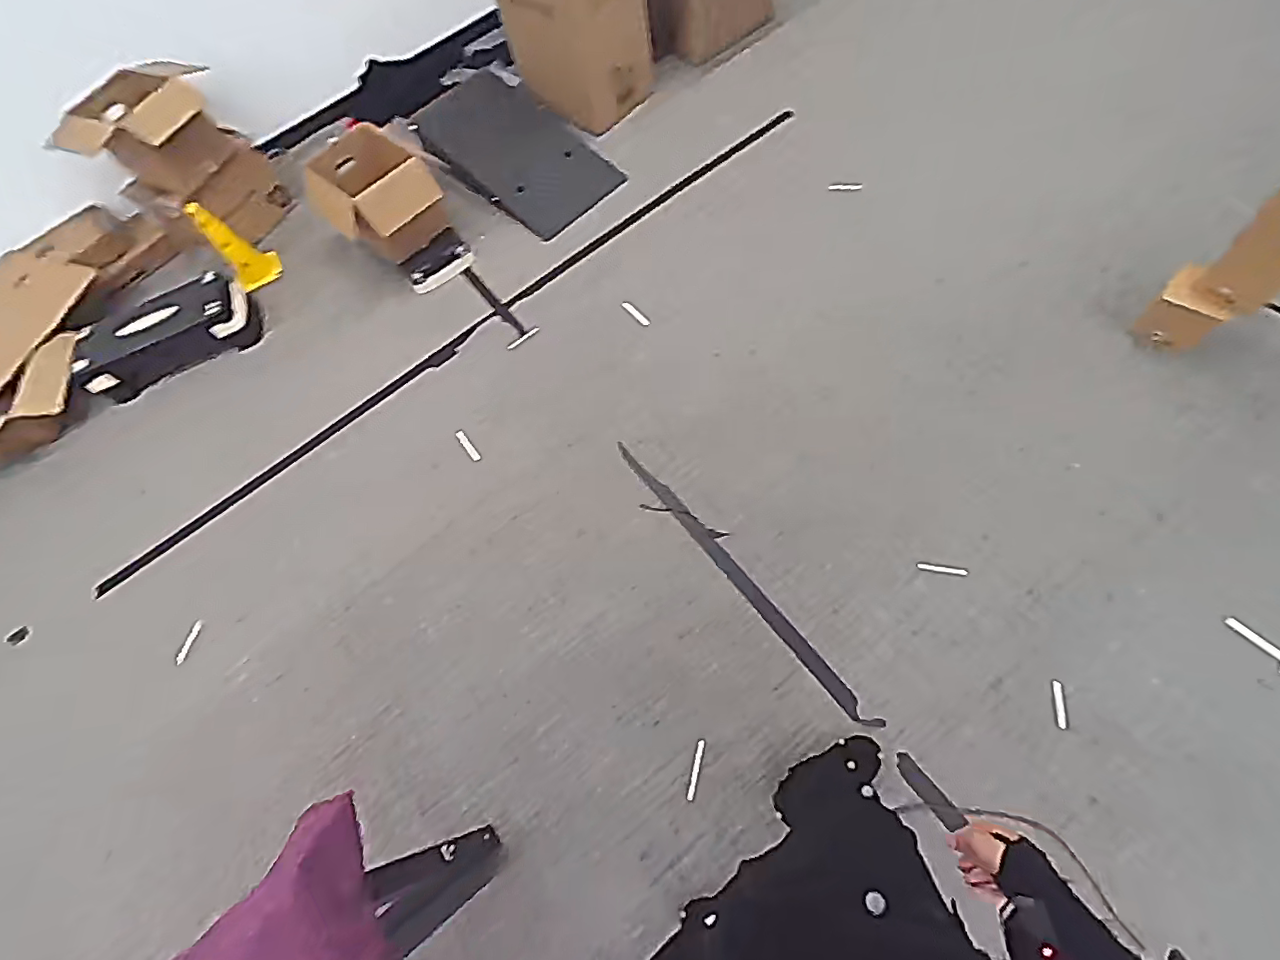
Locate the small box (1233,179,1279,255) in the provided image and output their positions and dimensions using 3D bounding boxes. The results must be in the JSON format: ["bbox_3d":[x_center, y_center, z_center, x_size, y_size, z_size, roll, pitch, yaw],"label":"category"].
[{"bbox_3d":[1.650,-0.676,1.329,0.168,0.176,0.179,-41,64,-11],"label":"small box"}]

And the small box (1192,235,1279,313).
[{"bbox_3d":[1.685,-0.594,1.468,0.179,0.176,0.168,-35,62,-8],"label":"small box"}]

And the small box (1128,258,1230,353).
[{"bbox_3d":[1.633,-0.522,1.625,0.168,0.176,0.179,36,75,24],"label":"small box"}]
